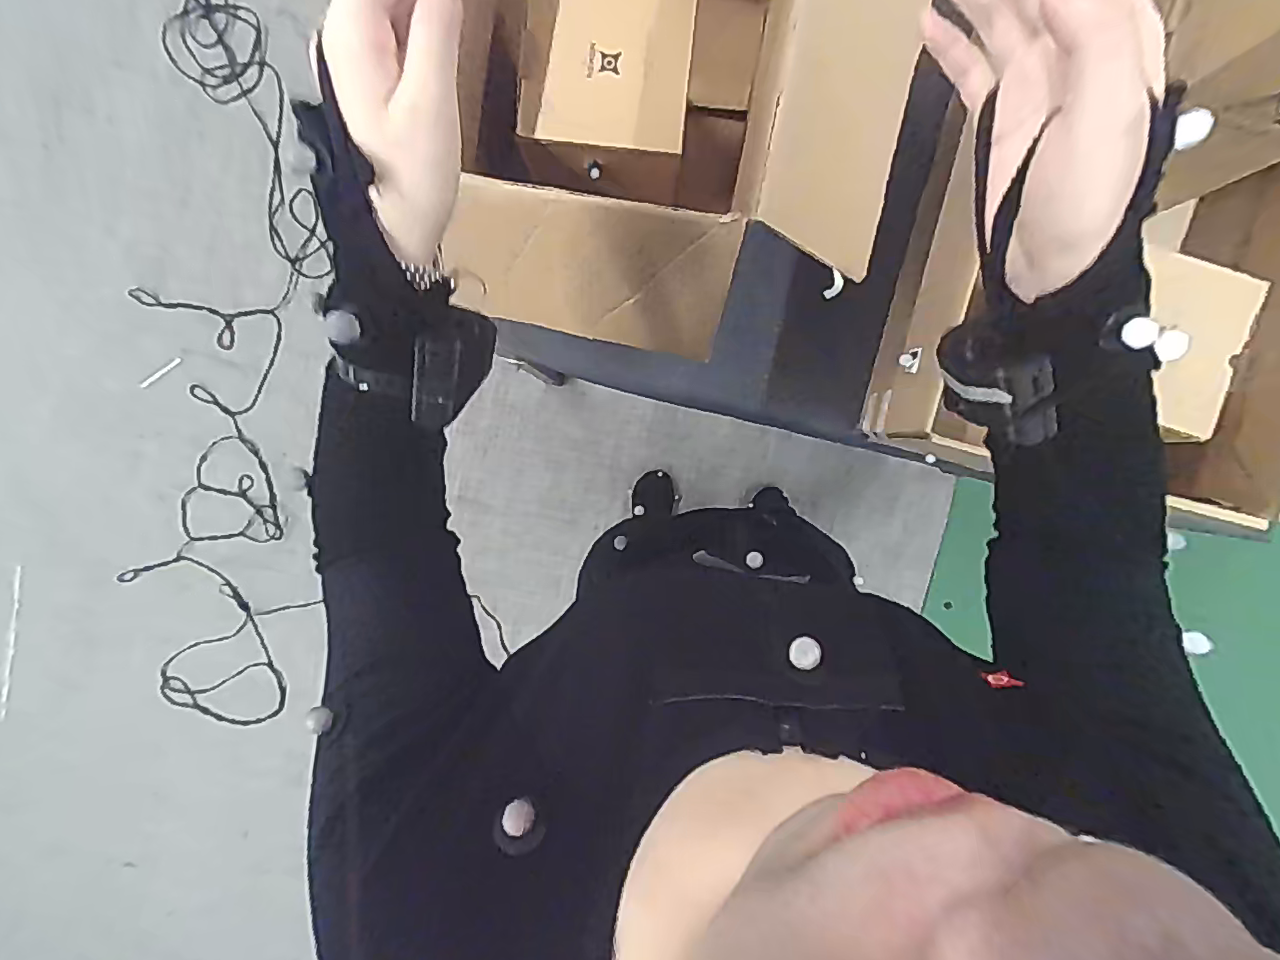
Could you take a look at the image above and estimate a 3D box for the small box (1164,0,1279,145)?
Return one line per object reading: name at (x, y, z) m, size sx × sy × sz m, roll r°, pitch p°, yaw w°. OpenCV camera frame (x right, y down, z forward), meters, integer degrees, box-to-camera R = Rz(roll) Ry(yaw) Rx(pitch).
small box at (0.593, -0.414, 0.434) m, size 0.168 × 0.176 × 0.179 m, roll 14°, pitch 96°, yaw 0°
